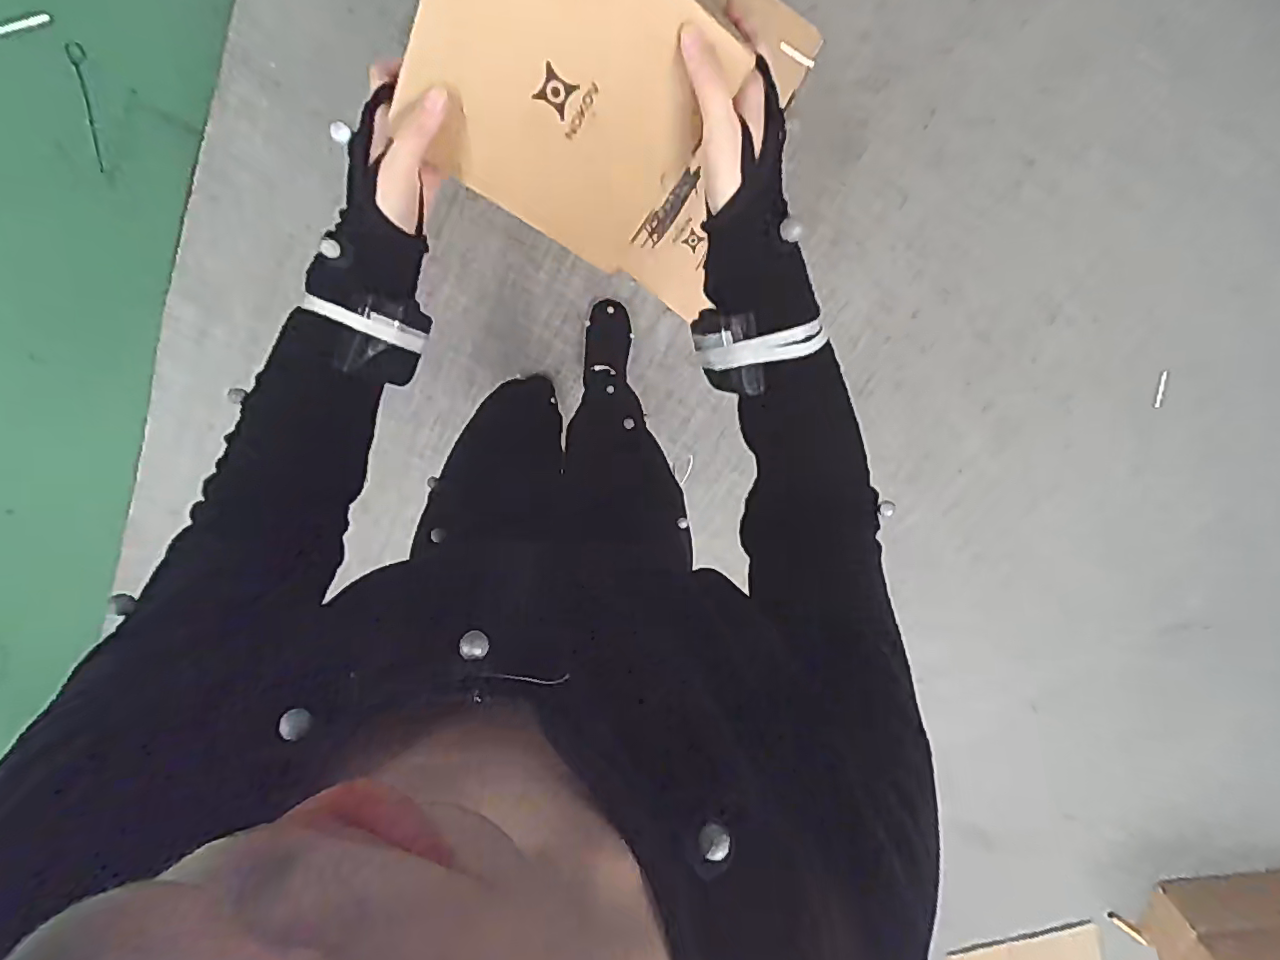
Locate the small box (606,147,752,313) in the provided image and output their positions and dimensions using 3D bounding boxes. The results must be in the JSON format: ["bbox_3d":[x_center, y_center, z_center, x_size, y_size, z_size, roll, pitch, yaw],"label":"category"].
[{"bbox_3d":[0.053,-0.407,0.896,0.168,0.176,0.179,30,109,-15],"label":"small box"}]
